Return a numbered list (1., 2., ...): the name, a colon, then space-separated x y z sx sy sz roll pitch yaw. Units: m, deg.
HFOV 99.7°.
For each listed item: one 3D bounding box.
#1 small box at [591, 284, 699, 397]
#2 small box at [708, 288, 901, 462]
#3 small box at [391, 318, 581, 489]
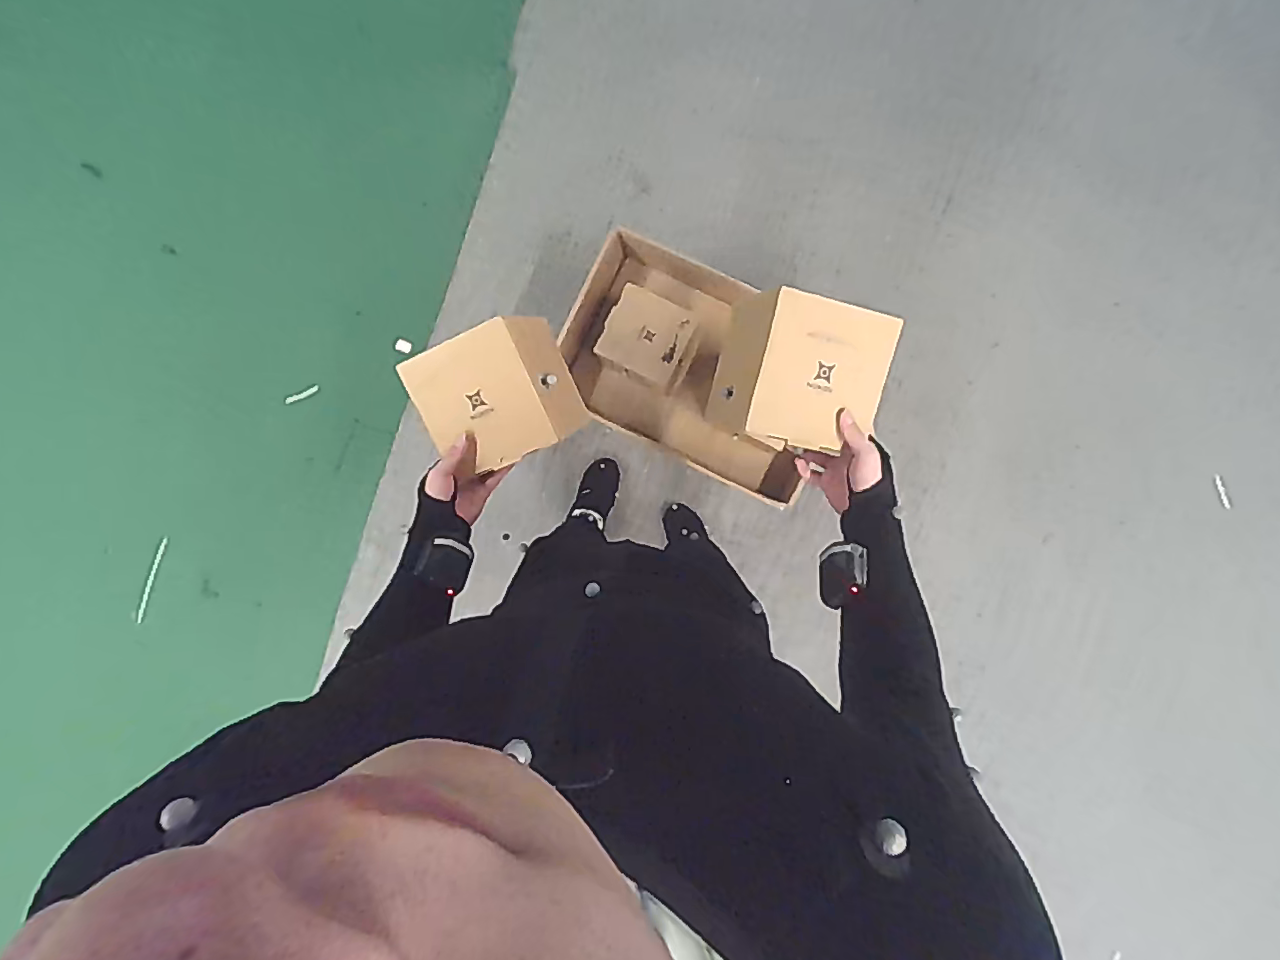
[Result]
1. small box: 0.016 -0.299 1.204 0.179 0.176 0.168 28 93 5
2. small box: 0.202 -0.136 0.719 0.168 0.176 0.179 11 99 -13
3. small box: -0.204 -0.112 0.766 0.168 0.176 0.179 -22 102 12
